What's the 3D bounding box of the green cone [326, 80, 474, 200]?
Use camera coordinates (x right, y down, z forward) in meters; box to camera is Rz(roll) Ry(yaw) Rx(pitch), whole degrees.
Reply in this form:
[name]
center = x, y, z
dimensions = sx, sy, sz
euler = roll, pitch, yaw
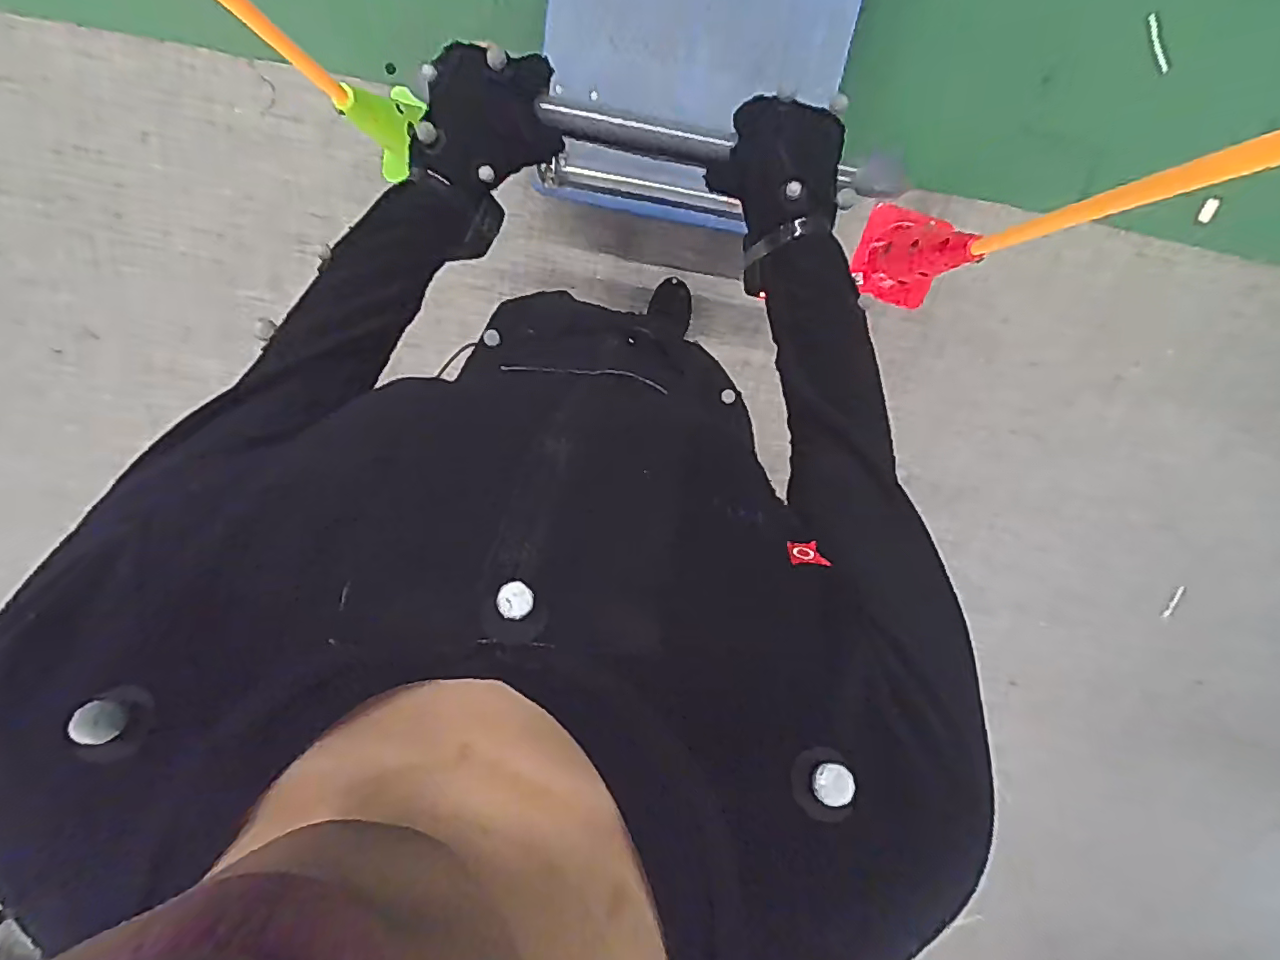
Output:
[green cone]
center = -0.506, -0.728, 1.099
dimensions = 0.202, 0.368, 0.200
euler = 16, 109, -2
